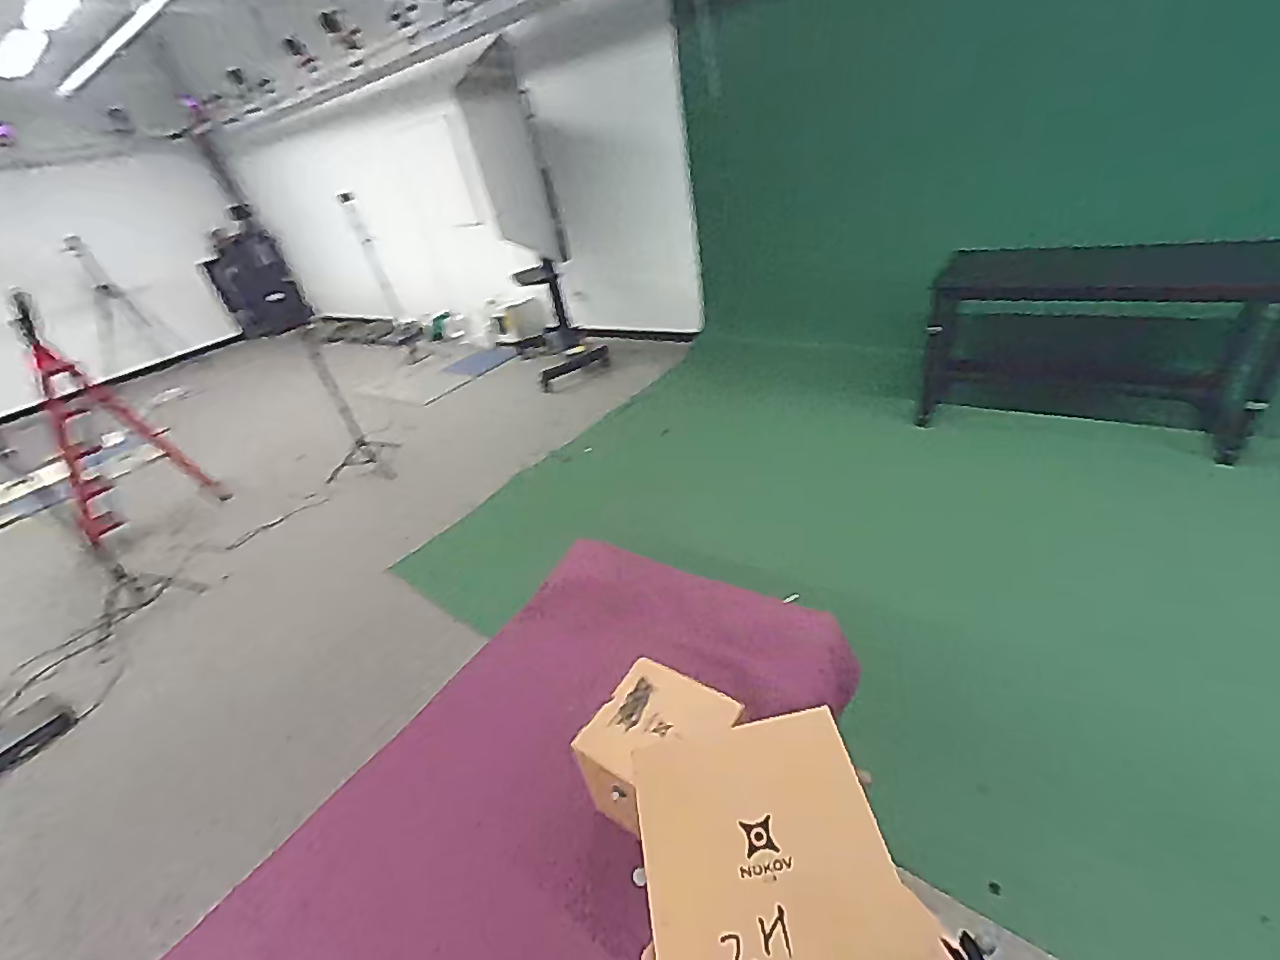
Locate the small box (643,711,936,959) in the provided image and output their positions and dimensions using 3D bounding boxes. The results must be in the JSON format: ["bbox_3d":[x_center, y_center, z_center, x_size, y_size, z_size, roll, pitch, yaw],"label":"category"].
[{"bbox_3d":[0.104,0.316,0.423,0.168,0.176,0.179,-13,40,3],"label":"small box"}]

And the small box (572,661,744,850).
[{"bbox_3d":[0.036,0.398,0.760,0.179,0.176,0.168,14,40,34],"label":"small box"}]
